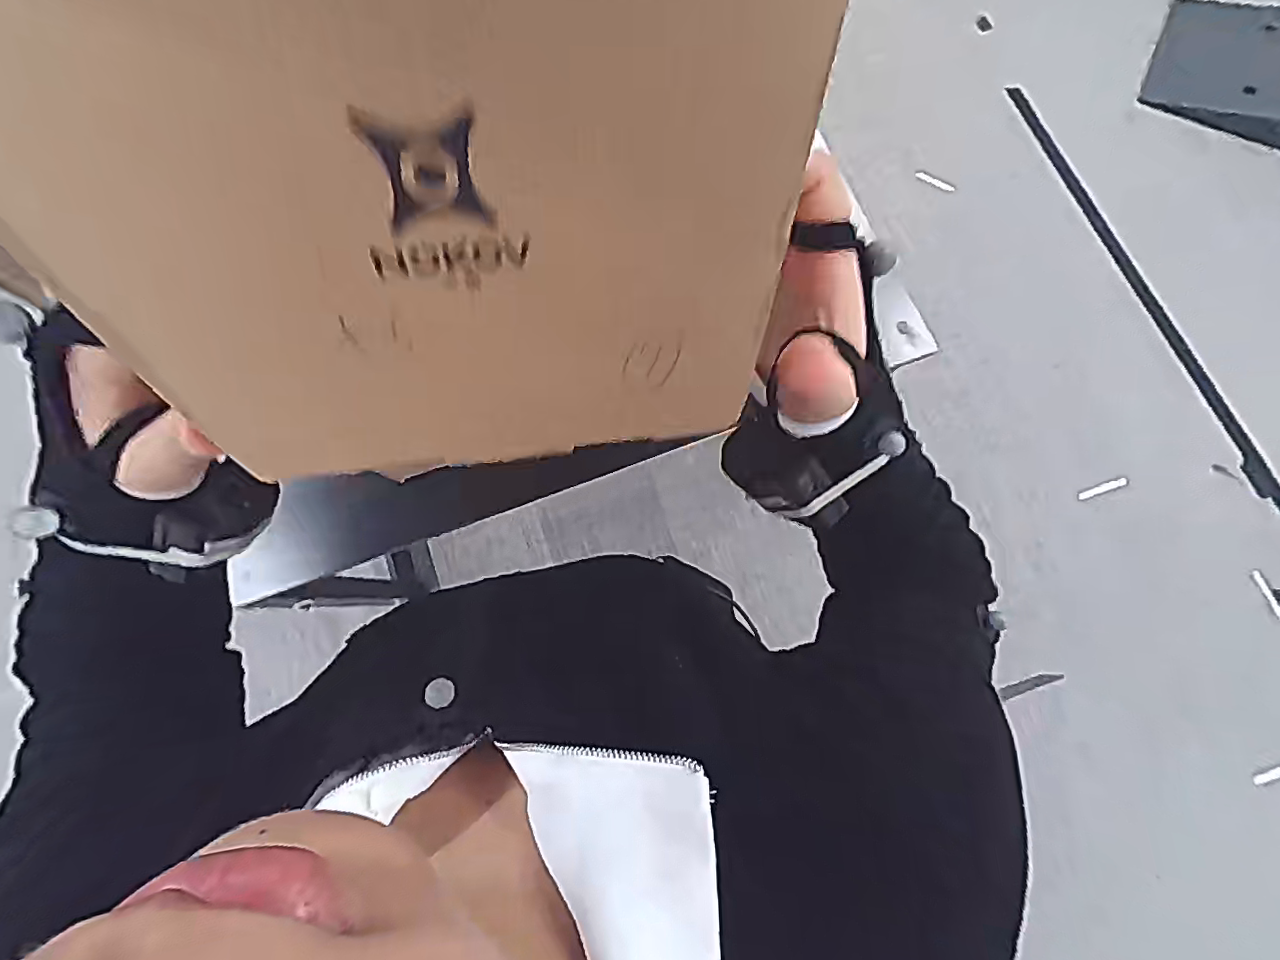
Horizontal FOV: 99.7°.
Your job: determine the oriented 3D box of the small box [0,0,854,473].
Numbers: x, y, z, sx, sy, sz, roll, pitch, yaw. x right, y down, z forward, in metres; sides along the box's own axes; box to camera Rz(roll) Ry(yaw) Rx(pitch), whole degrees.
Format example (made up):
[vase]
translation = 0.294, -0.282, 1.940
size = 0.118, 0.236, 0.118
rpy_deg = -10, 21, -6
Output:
[small box]
translation = -0.055, -0.124, 0.169
size = 0.168, 0.179, 0.176
rpy_deg = -7, 58, -6
